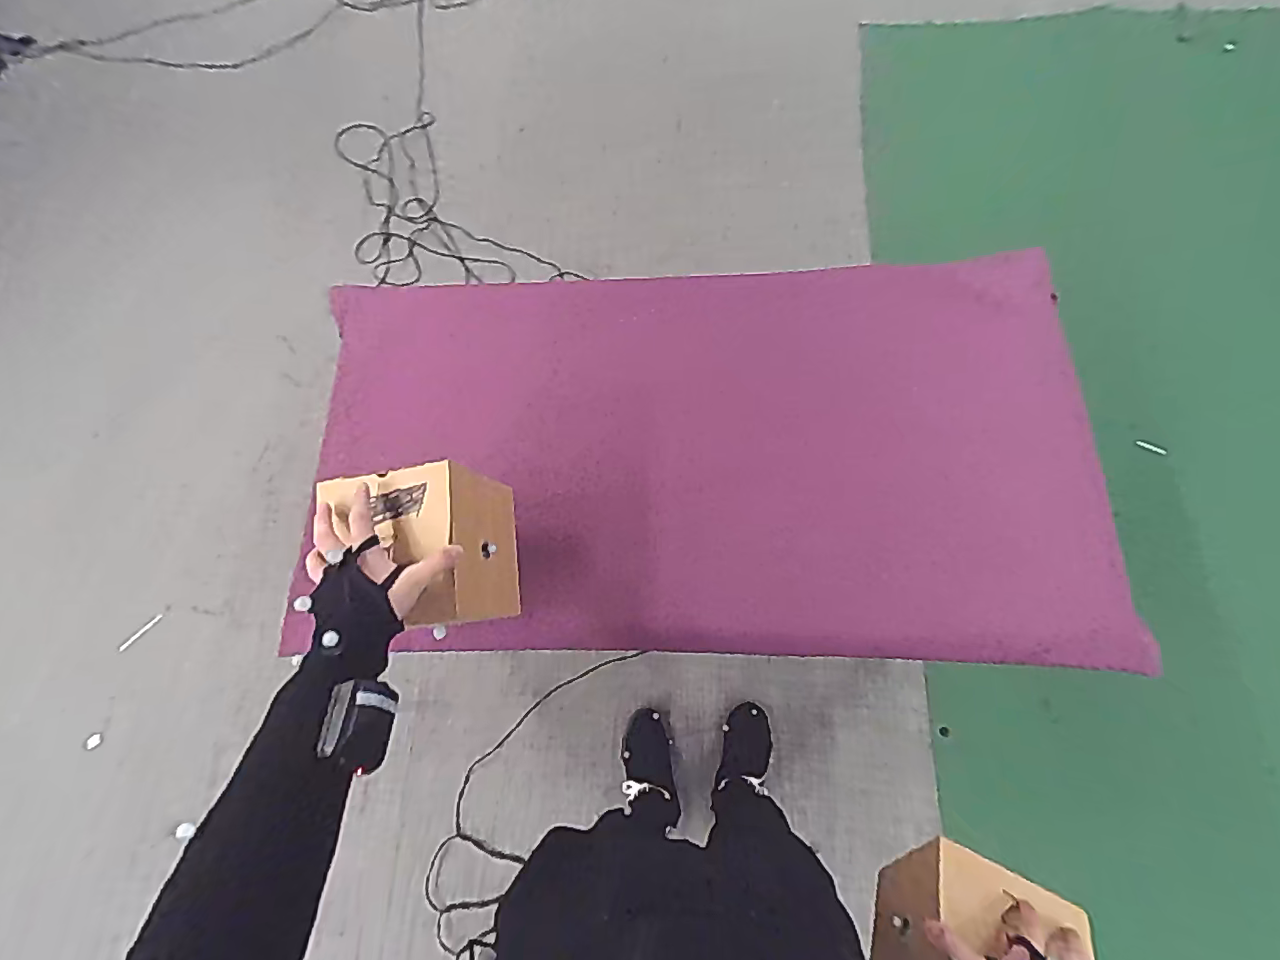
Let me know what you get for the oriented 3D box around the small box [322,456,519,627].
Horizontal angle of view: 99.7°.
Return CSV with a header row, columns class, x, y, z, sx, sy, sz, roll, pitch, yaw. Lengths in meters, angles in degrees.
class,x,y,z,sx,sy,sz,roll,pitch,yaw
small box,-0.262,0.083,0.675,0.168,0.176,0.179,-9,78,9
